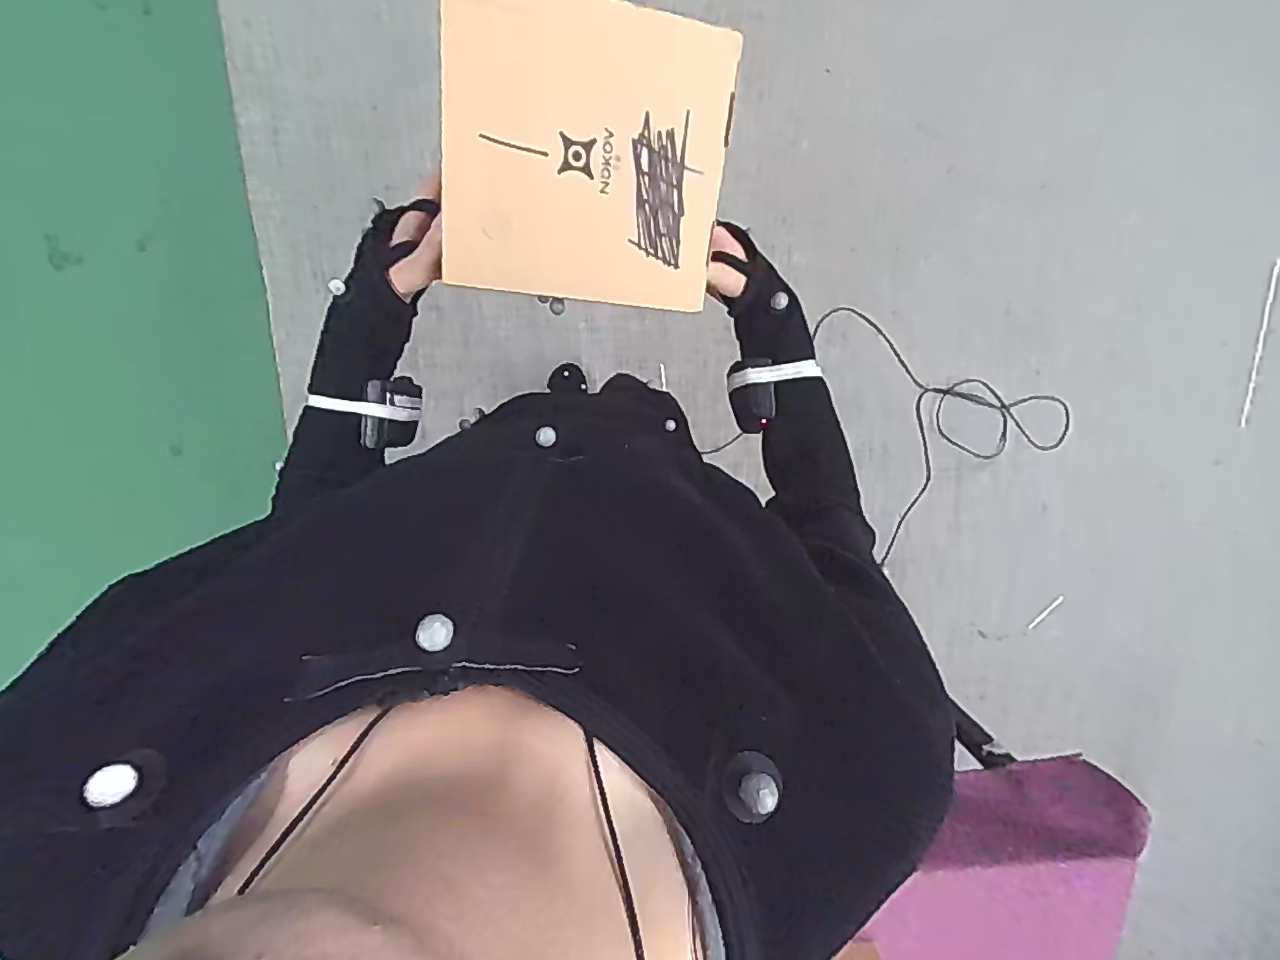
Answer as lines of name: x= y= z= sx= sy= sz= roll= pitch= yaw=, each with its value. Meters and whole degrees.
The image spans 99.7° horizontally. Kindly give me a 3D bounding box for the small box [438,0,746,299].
small box: x=-0.047 y=-0.236 z=0.402 sx=0.179 sy=0.176 sz=0.168 roll=3 pitch=110 yaw=-14
